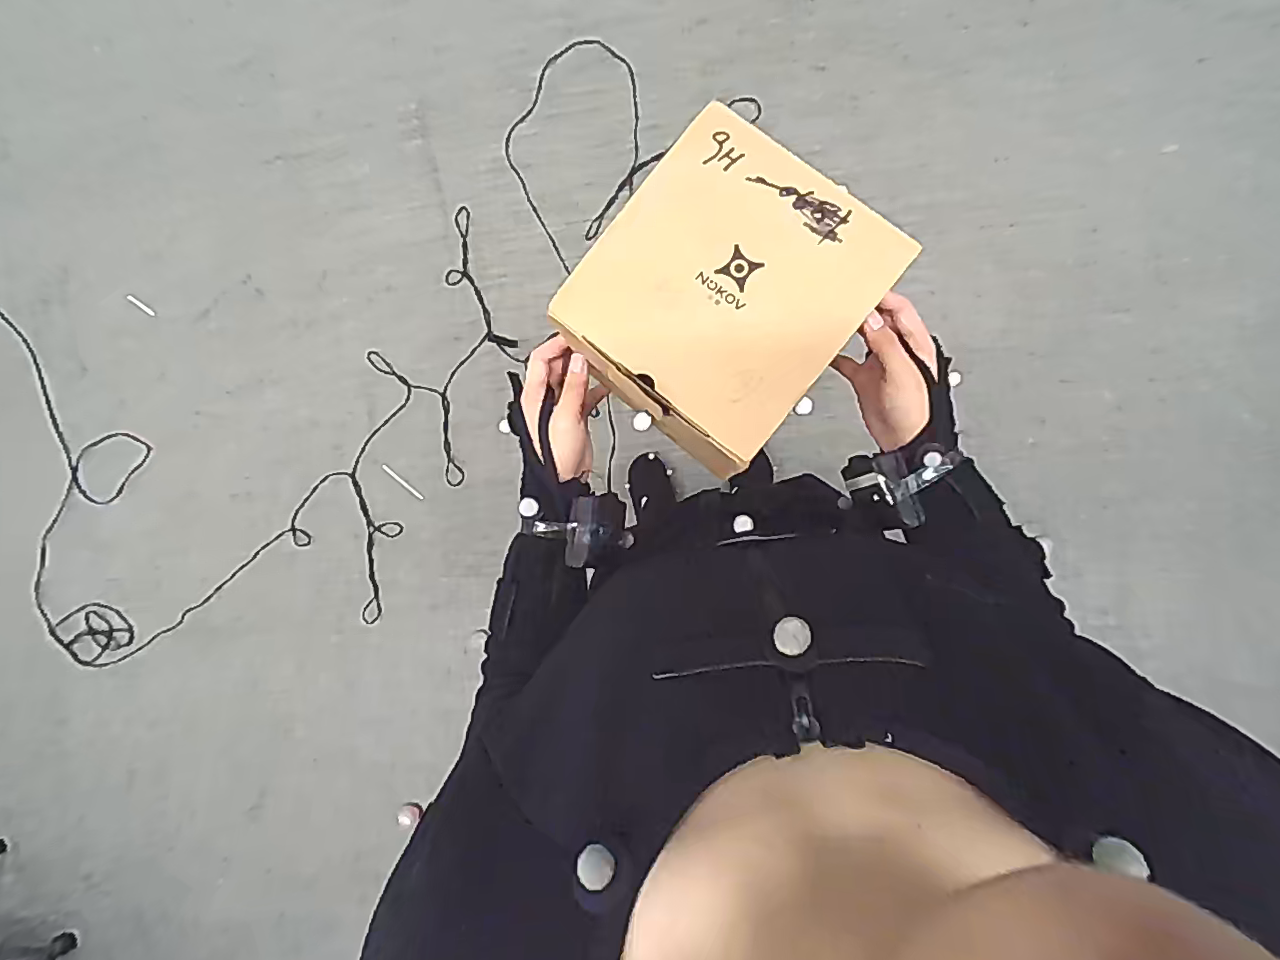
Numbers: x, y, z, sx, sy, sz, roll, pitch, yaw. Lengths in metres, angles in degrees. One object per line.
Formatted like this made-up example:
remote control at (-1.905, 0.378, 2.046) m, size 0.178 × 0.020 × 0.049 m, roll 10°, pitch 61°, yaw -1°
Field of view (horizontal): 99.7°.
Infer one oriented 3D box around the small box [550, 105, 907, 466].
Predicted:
small box at (0.062, -0.126, 0.427) m, size 0.168 × 0.176 × 0.179 m, roll 39°, pitch 91°, yaw 6°
